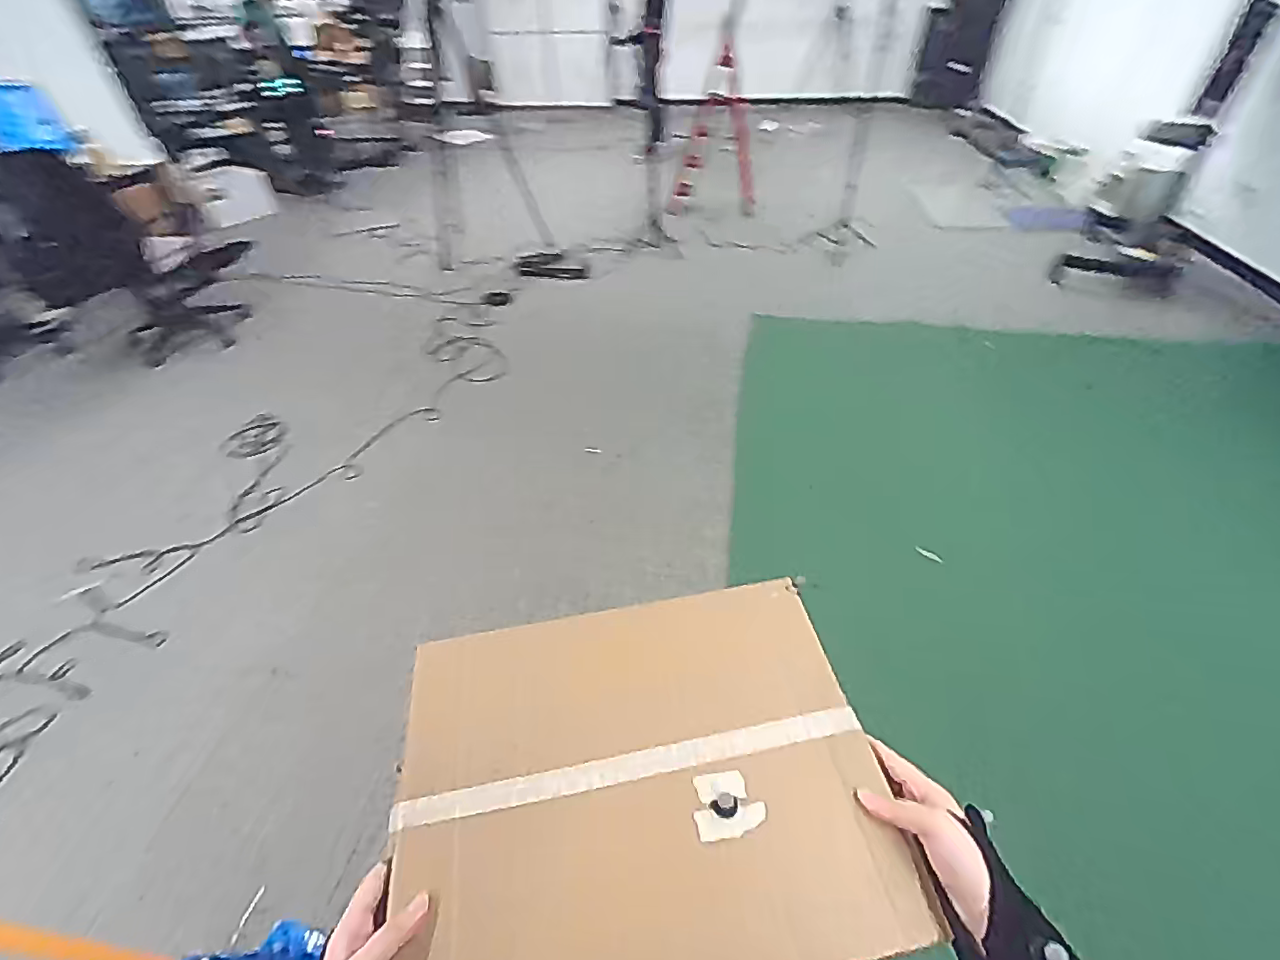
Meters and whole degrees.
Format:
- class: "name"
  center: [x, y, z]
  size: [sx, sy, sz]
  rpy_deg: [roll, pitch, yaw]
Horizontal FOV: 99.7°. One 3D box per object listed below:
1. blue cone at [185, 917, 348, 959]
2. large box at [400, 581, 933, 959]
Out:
- class: "blue cone"
  center: [-0.732, 0.918, 1.002]
  size: [0.192, 0.380, 0.193]
  rpy_deg: [13, 45, 14]
- class: "large box"
  center: [0.000, 0.356, 0.585]
  size: [0.408, 0.320, 0.320]
  rpy_deg: [-9, 47, -8]
